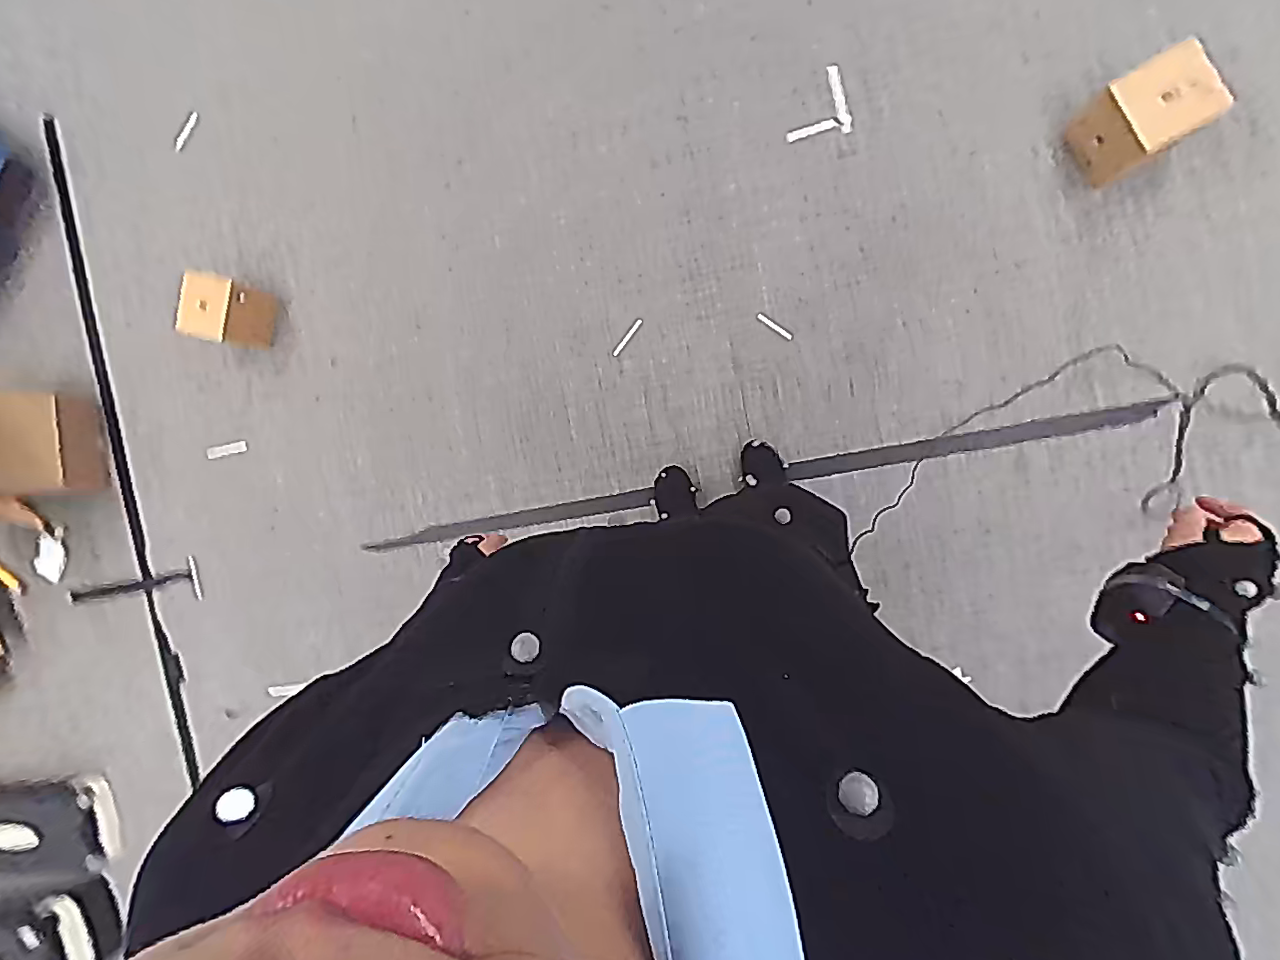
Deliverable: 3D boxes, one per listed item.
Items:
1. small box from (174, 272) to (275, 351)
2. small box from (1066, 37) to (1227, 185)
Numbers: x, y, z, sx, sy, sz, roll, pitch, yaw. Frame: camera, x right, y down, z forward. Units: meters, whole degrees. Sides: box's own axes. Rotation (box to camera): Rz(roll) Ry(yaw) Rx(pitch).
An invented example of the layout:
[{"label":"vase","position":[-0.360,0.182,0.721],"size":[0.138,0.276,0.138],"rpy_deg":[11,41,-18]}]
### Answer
[{"label":"small box","position":[-1.236,-0.497,1.620],"size":[0.168,0.176,0.179],"rpy_deg":[14,95,9]},{"label":"small box","position":[1.094,-0.797,1.192],"size":[0.179,0.176,0.168],"rpy_deg":[-28,88,10]}]
